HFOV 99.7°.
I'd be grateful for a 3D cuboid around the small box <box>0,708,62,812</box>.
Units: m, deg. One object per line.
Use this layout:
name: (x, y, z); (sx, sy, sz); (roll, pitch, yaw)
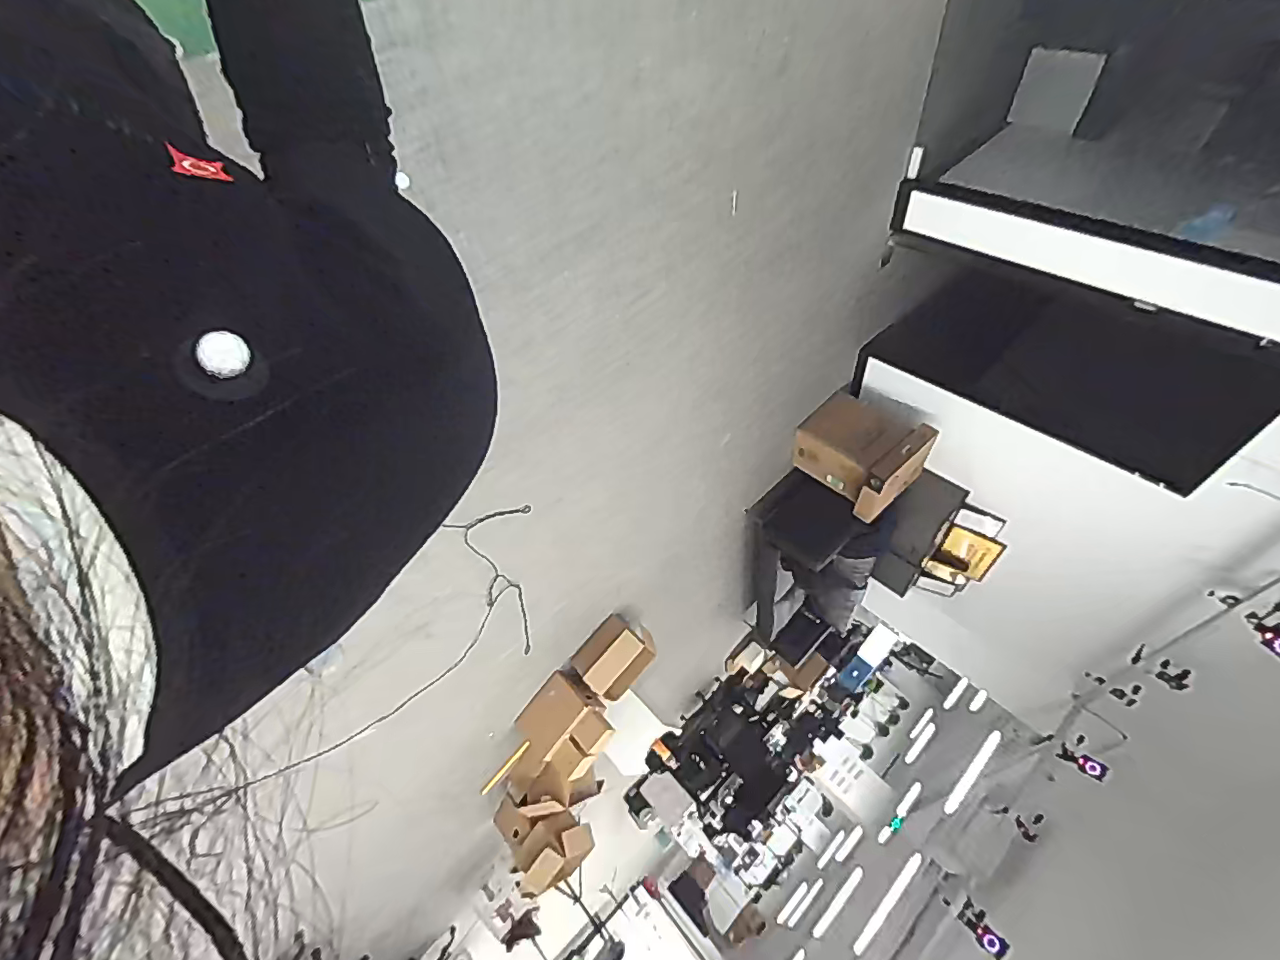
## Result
small box: (-1.579, 0.679, 1.305); (0.179, 0.176, 0.168); (-42, 148, -16)
